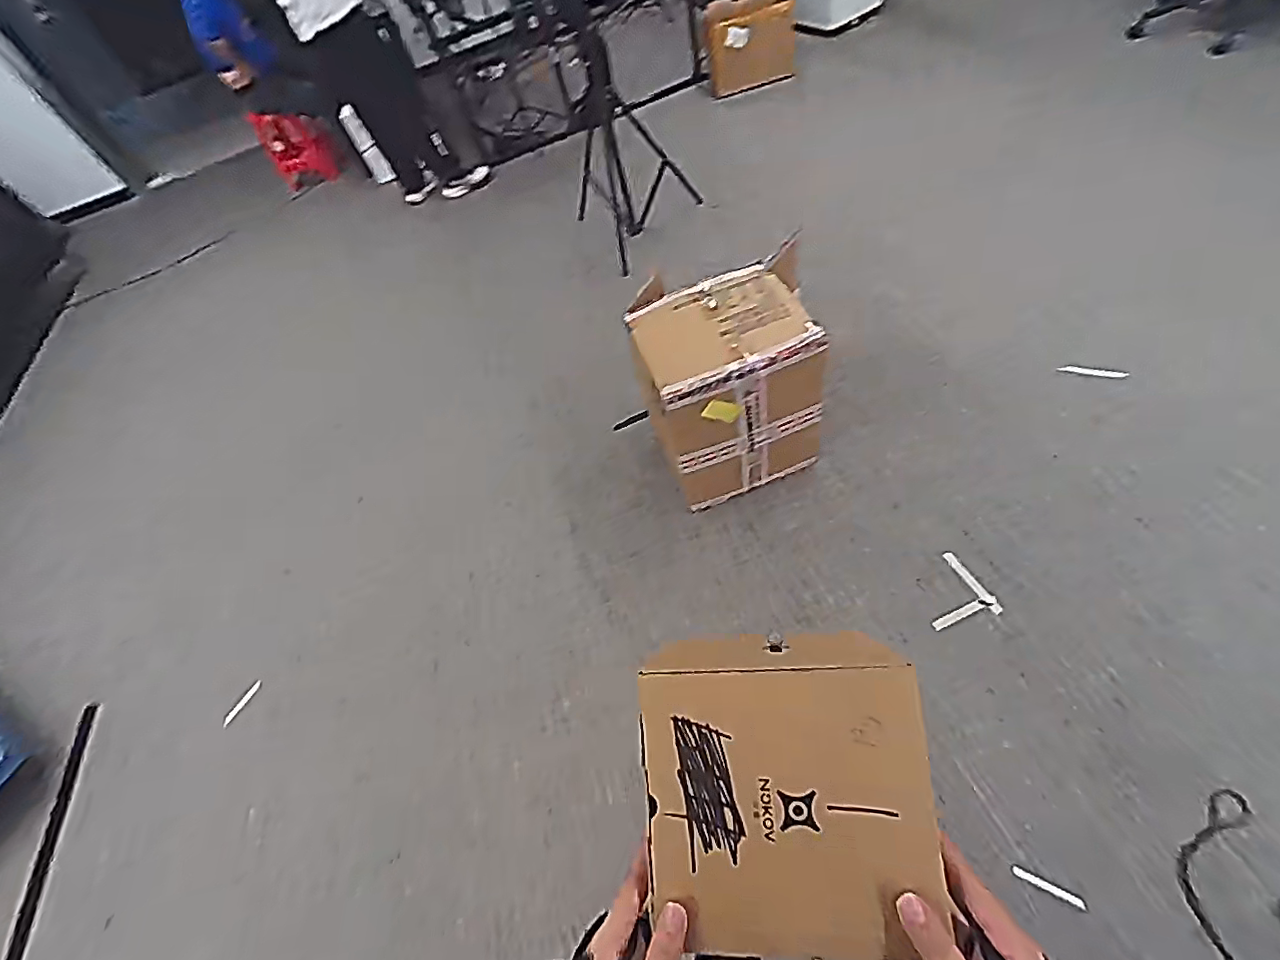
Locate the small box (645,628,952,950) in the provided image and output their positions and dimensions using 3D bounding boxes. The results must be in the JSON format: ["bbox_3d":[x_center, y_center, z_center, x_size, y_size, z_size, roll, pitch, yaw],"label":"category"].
[{"bbox_3d":[0.107,0.208,0.416,0.179,0.176,0.168,-5,80,10],"label":"small box"}]
